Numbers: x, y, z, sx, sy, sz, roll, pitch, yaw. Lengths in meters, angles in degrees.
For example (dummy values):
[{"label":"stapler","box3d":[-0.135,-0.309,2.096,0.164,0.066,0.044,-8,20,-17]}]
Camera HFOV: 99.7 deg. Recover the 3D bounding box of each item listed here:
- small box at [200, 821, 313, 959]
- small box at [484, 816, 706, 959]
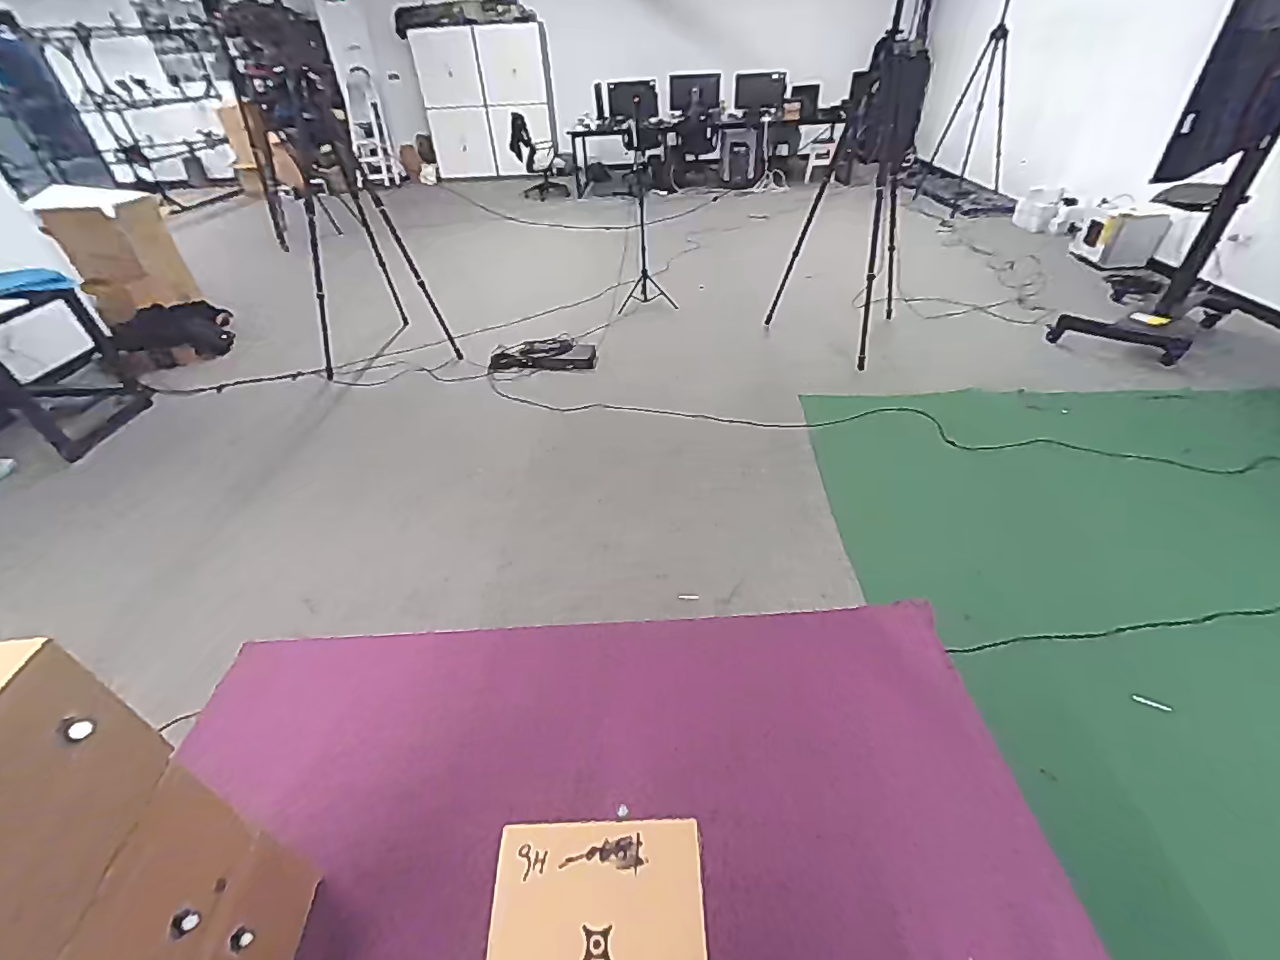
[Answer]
[{"label":"small box","box3d":[-0.486,0.492,0.571,0.168,0.176,0.179,-3,38,-1]},{"label":"small box","box3d":[-0.028,0.399,0.462,0.168,0.176,0.179,-3,51,3]}]
